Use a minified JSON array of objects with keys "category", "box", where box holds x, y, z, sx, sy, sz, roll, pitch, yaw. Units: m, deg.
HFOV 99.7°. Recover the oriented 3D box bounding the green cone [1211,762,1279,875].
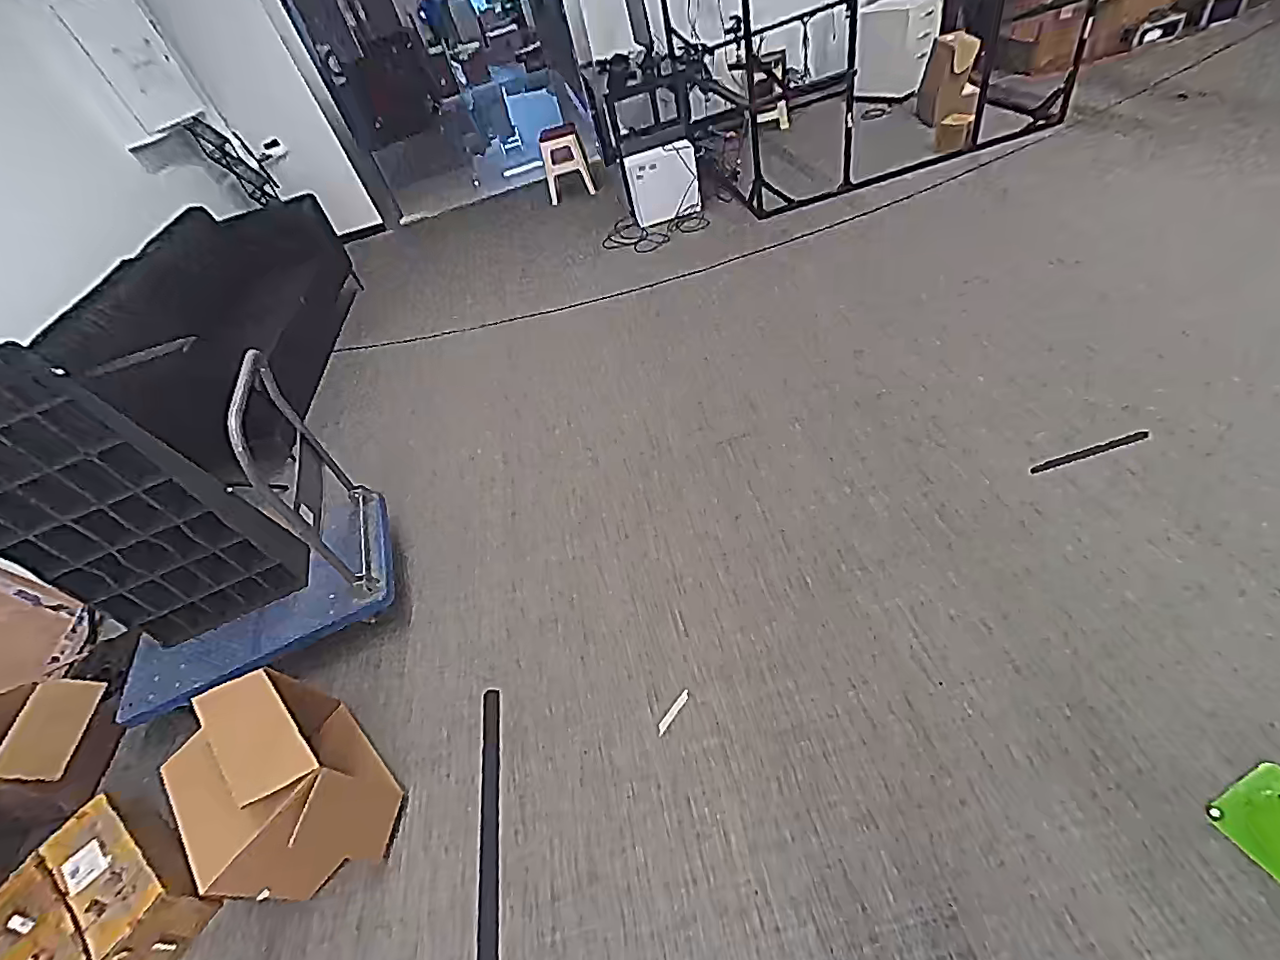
[{"category":"green cone","box":[1.211,0.551,0.899,0.202,0.368,0.200,-27,45,-10]}]
